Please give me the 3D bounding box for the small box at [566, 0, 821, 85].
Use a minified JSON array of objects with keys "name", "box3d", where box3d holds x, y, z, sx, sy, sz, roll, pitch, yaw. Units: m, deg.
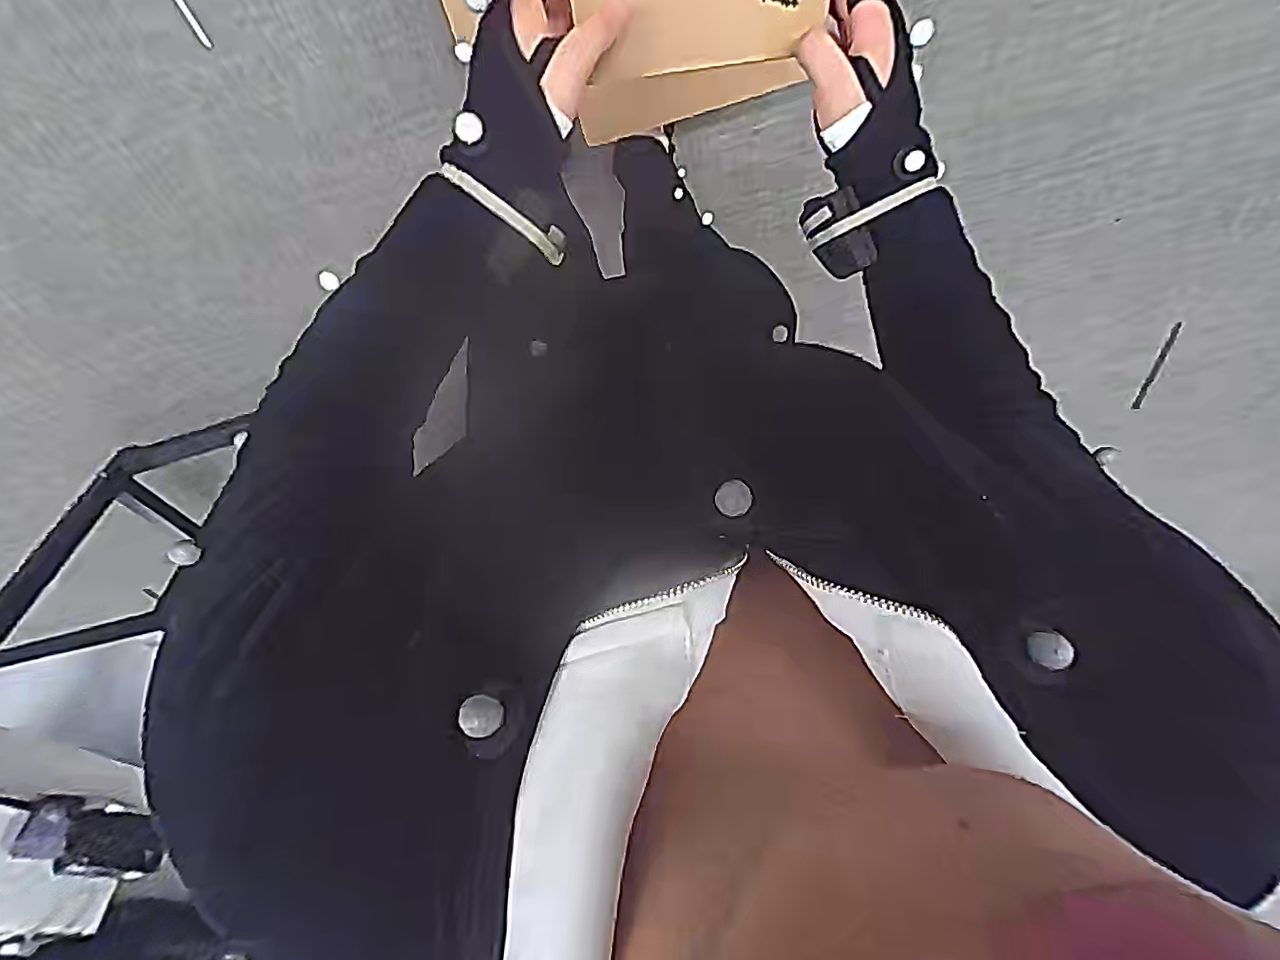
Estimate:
[{"name":"small box","box3d":[0.032,-0.413,0.388,0.179,0.176,0.168,-4,138,5]}]
